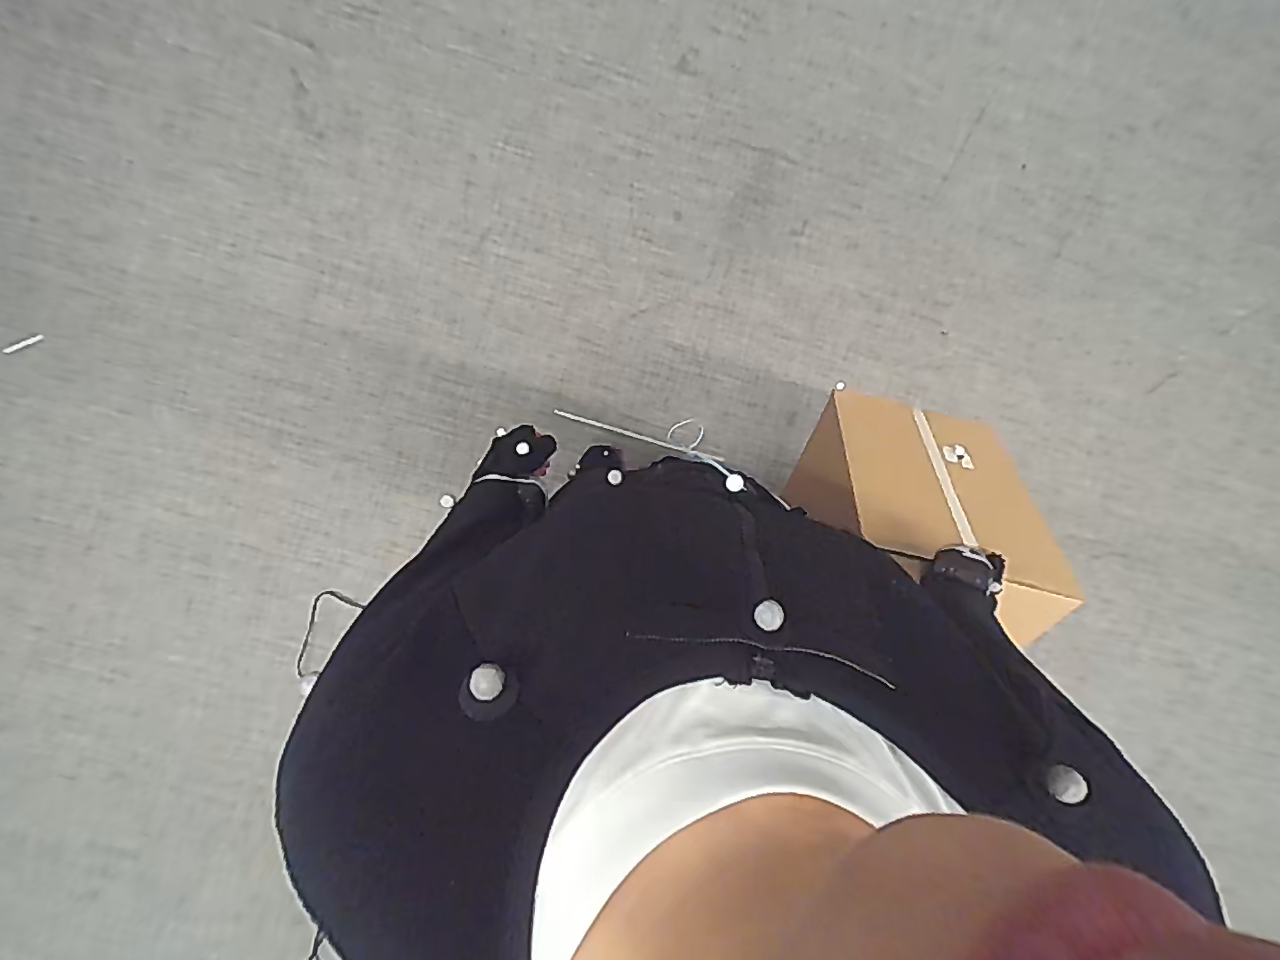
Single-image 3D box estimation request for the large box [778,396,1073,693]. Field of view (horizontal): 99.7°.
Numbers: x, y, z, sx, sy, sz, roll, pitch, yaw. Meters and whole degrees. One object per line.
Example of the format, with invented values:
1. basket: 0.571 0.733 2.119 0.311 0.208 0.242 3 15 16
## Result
1. large box: 0.455 0.109 0.987 0.320 0.408 0.320 15 132 -1
